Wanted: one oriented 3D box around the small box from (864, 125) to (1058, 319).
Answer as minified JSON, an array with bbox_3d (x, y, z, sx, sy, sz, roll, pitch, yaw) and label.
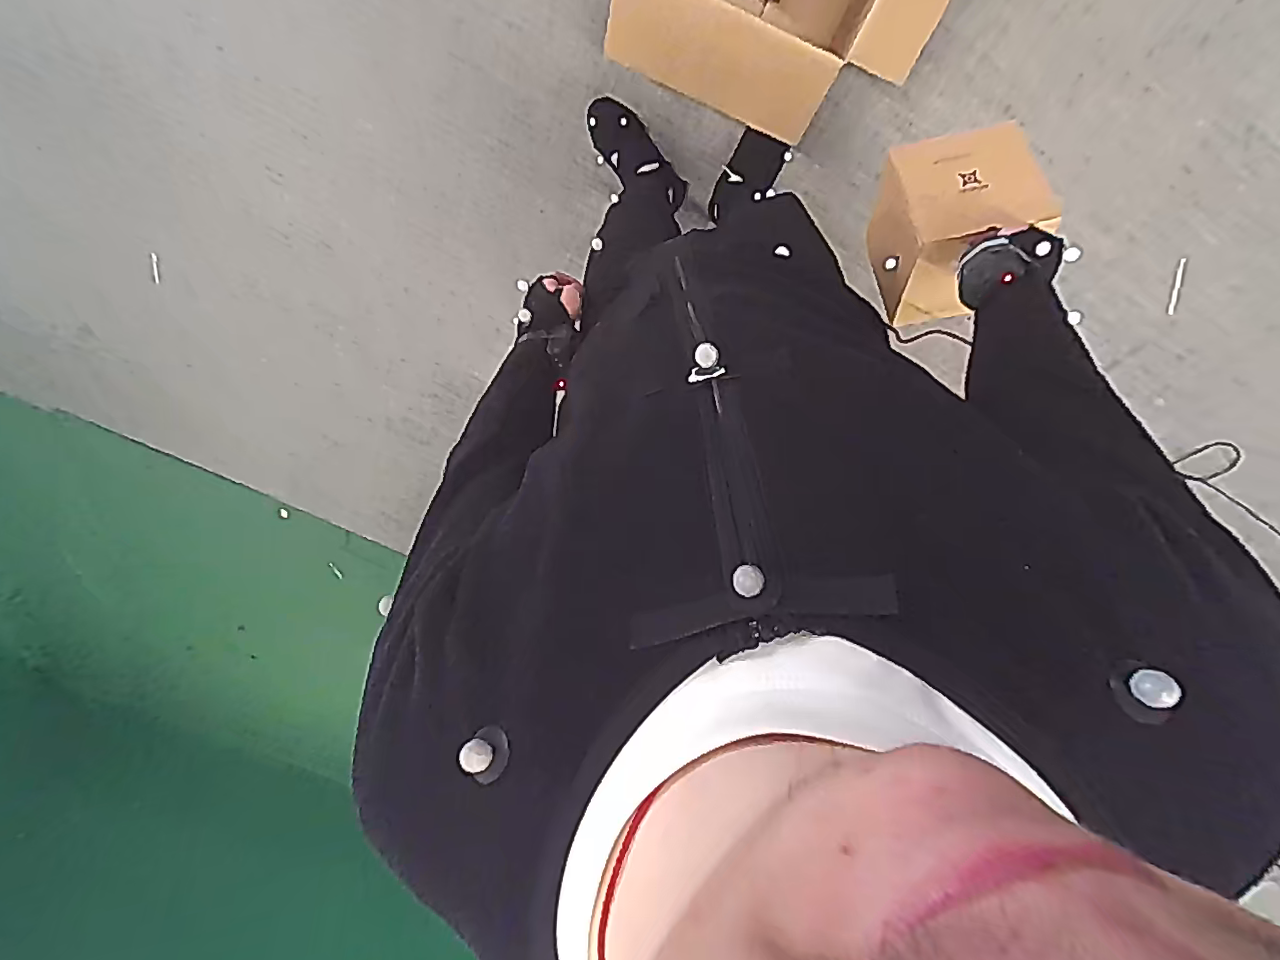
[{"bbox_3d":[0.432,-0.348,0.763,0.168,0.179,0.176,-8,156,7],"label":"small box"}]
